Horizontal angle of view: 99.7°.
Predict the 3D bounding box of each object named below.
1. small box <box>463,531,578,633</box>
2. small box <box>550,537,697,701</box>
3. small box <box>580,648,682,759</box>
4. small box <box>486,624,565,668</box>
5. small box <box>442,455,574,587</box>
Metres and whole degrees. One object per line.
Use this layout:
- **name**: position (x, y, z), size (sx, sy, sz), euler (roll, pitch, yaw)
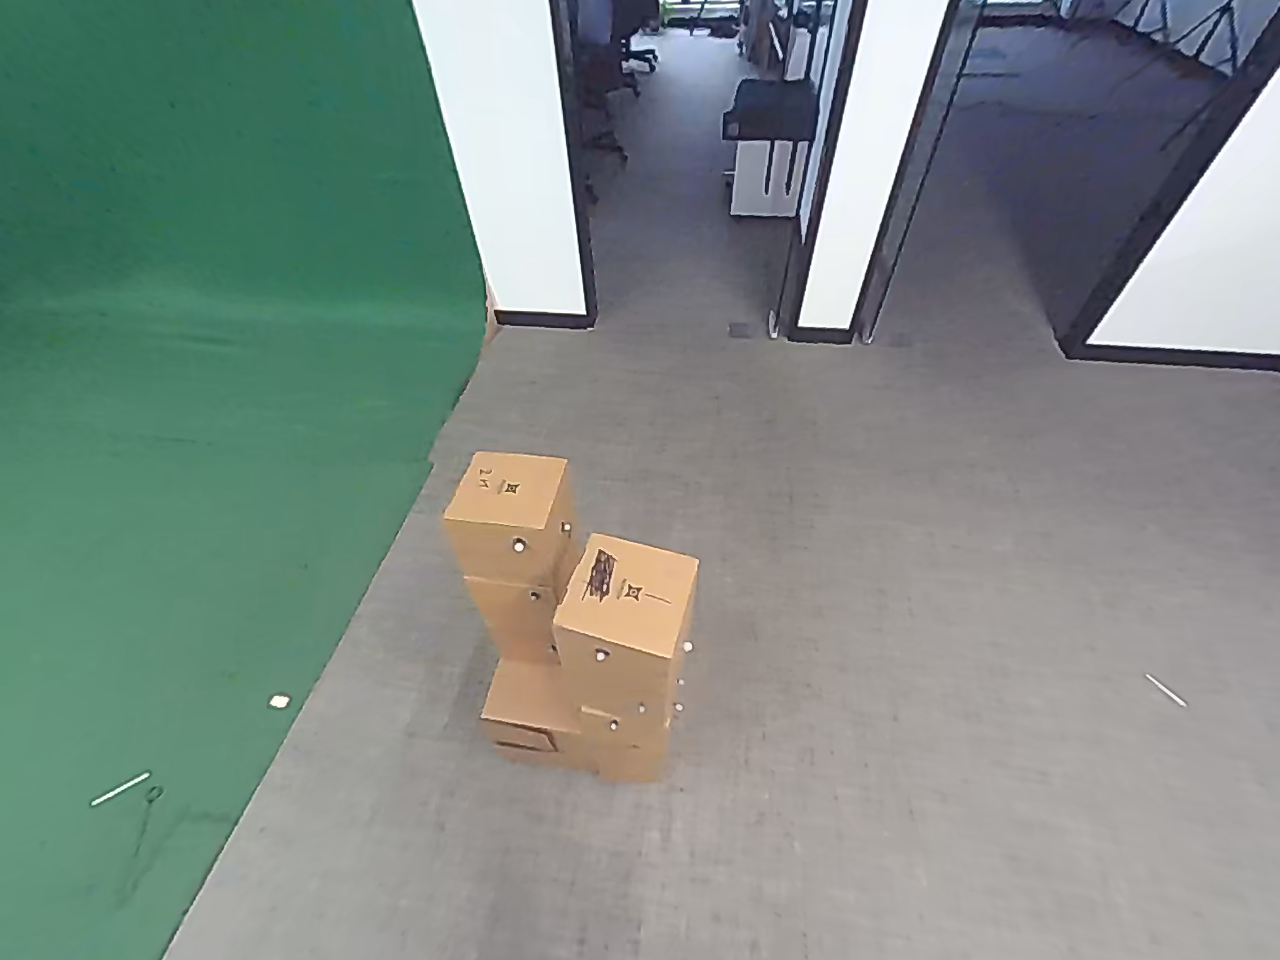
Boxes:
- **small box**: position (-0.233, 0.194, 1.105), size (0.179, 0.176, 0.168), euler (5, 46, 5)
- **small box**: position (-0.020, 0.220, 0.844), size (0.179, 0.176, 0.168), euler (14, 50, 11)
- **small box**: position (-0.014, 0.434, 1.094), size (0.168, 0.176, 0.179), euler (9, 48, 9)
- **small box**: position (-0.222, 0.308, 1.220), size (0.179, 0.176, 0.168), euler (3, 46, 6)
- **small box**: position (-0.226, 0.078, 0.988), size (0.179, 0.176, 0.168), euler (6, 46, 7)
